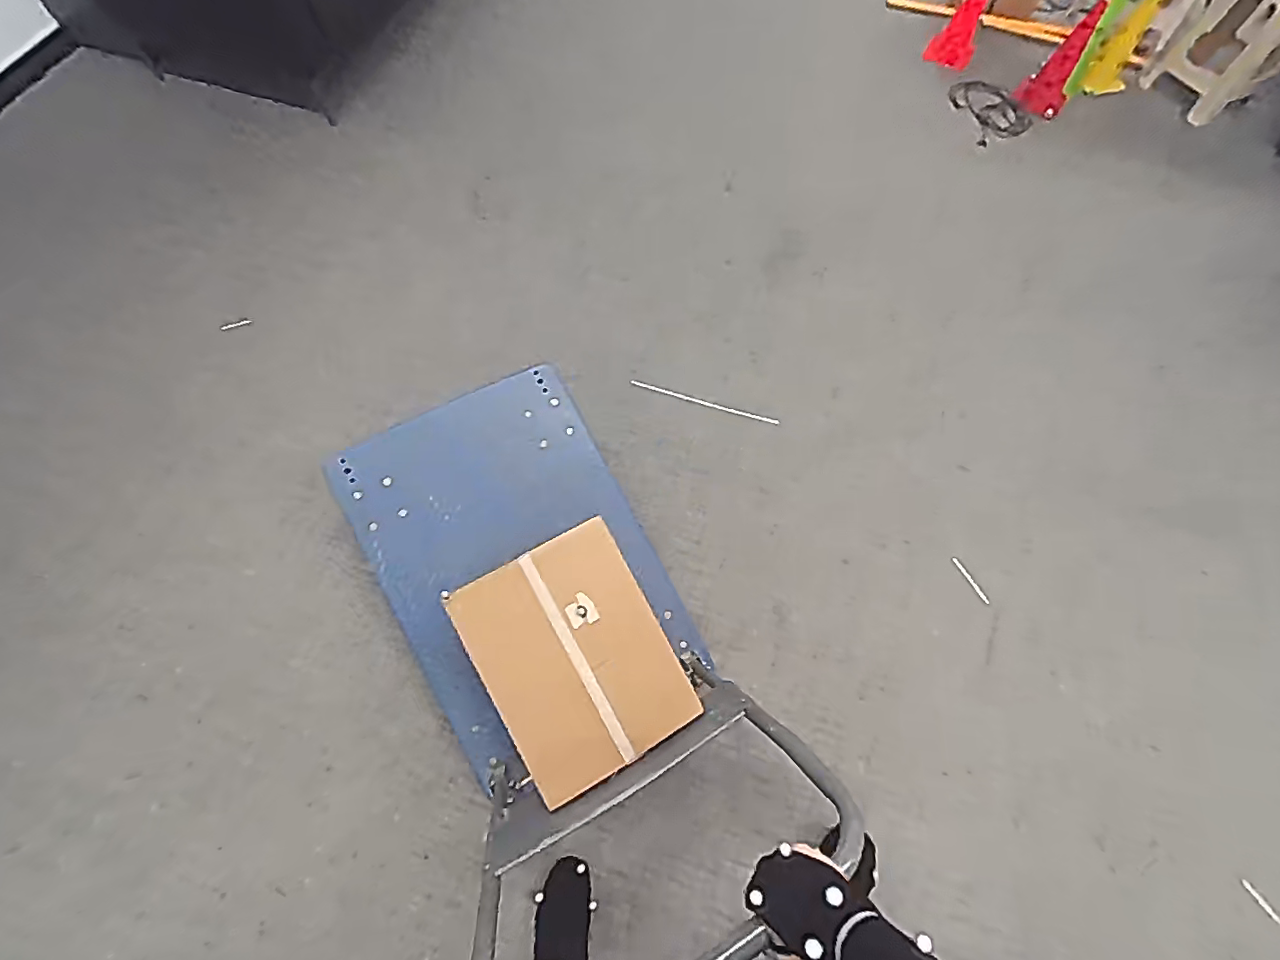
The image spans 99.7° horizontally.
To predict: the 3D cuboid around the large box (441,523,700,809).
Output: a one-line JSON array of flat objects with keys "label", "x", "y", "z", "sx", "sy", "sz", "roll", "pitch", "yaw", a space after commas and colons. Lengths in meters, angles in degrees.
[{"label": "large box", "x": -0.138, "y": 0.343, "z": 1.100, "sx": 0.320, "sy": 0.320, "sz": 0.408, "roll": -29, "pitch": 86, "yaw": -13}]
